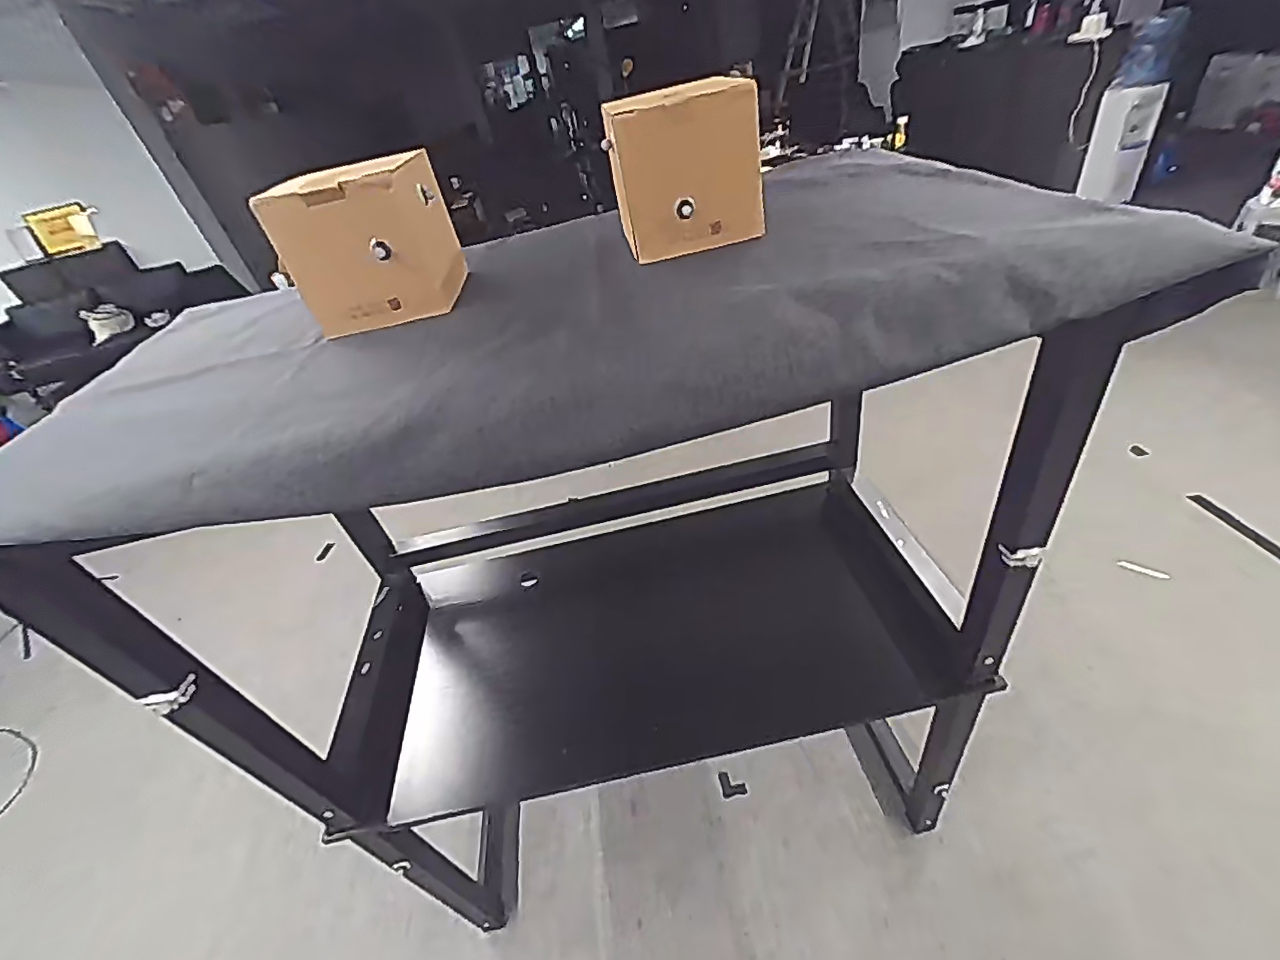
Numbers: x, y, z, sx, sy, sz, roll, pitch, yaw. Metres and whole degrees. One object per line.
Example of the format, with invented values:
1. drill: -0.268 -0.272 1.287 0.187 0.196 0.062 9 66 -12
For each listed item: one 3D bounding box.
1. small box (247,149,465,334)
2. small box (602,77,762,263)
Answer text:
1. small box: -0.342 -0.301 0.697 0.168 0.176 0.179 -11 39 2
2. small box: 0.052 -0.400 0.701 0.168 0.176 0.179 -13 39 1
